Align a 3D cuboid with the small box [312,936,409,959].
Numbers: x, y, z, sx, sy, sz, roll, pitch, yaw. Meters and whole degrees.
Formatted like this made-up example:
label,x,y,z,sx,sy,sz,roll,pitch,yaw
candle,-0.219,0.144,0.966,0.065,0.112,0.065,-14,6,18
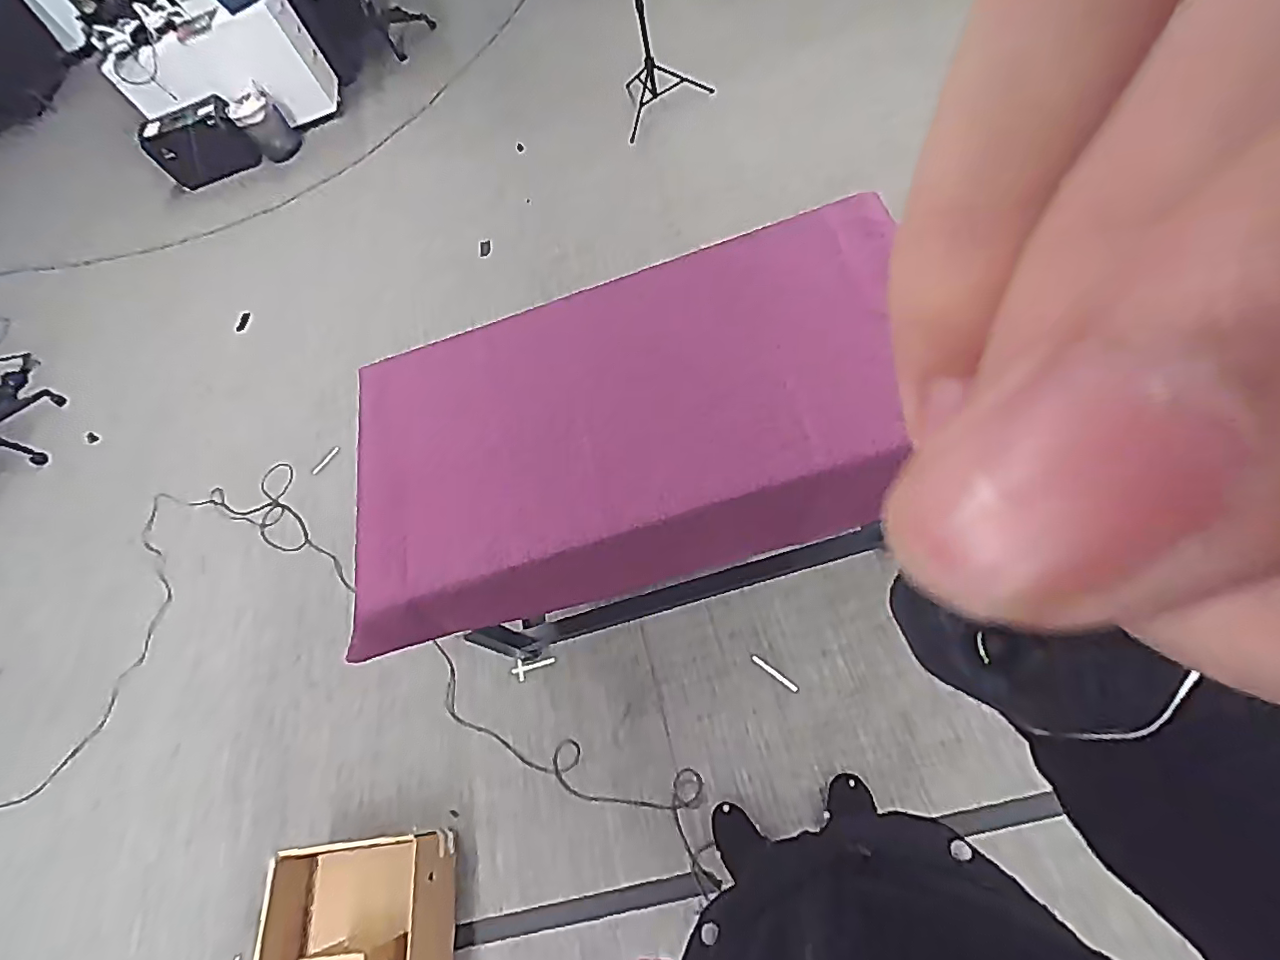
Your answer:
label,x,y,z,sx,sy,sz,roll,pitch,yaw
small box,-0.654,1.171,1.232,0.179,0.176,0.168,-12,61,8
